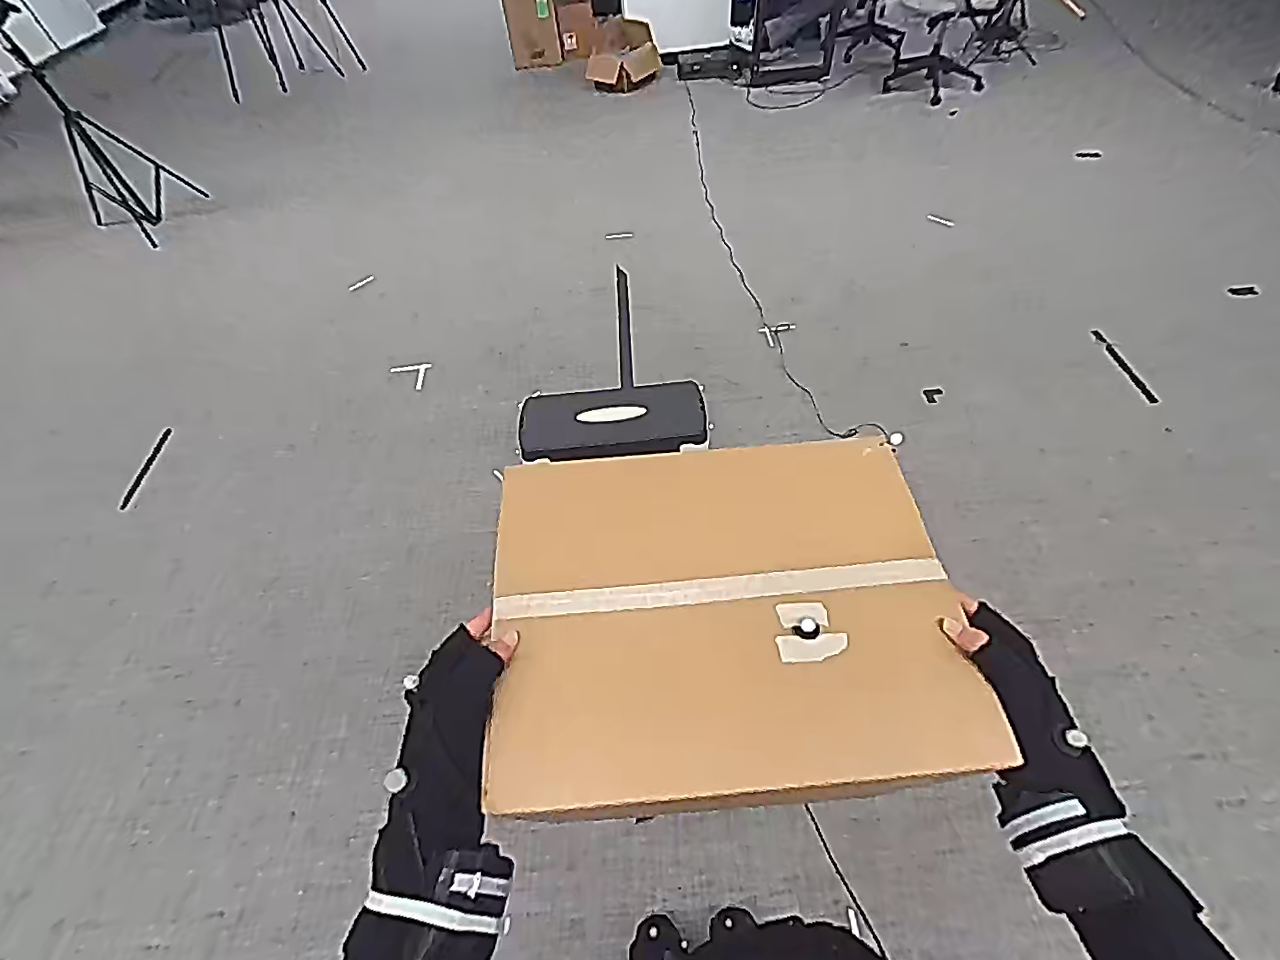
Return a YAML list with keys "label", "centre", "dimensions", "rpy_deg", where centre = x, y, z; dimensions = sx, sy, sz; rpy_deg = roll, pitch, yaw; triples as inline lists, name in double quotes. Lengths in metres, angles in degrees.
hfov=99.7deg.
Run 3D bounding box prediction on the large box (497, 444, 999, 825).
- label: "large box"
  centre: [0.076, 0.188, 0.622]
  dimensions: [0.408, 0.320, 0.320]
  rpy_deg: [-5, 56, -1]
